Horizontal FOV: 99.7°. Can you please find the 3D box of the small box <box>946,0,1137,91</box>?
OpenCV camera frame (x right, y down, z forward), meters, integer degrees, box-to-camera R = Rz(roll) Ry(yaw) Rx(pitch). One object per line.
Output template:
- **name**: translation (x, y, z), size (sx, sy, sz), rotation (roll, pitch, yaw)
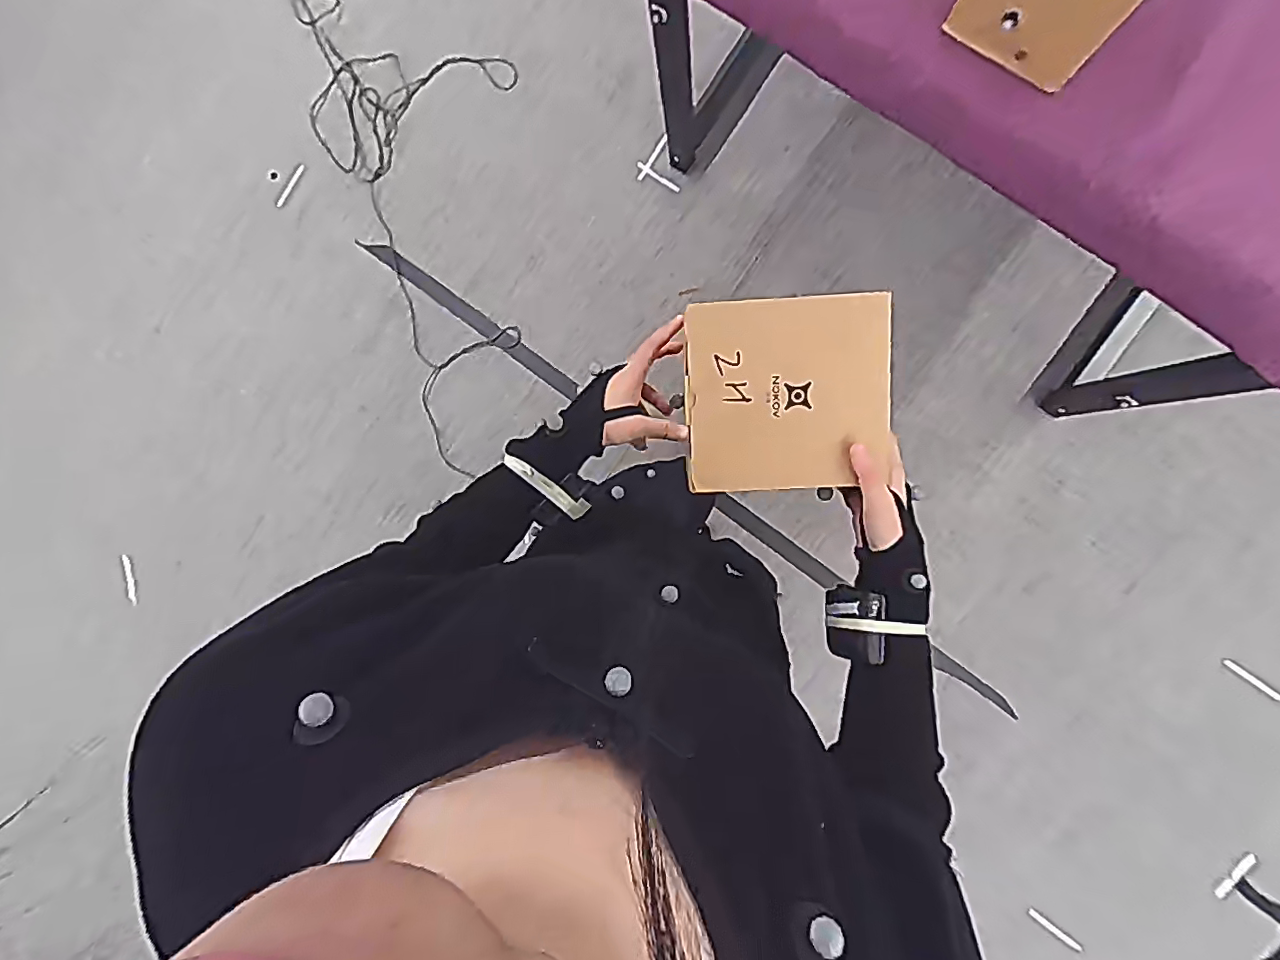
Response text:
- **small box**: translation (0.484, -0.597, 0.599), size (0.168, 0.176, 0.179), rotation (35, 95, 5)
